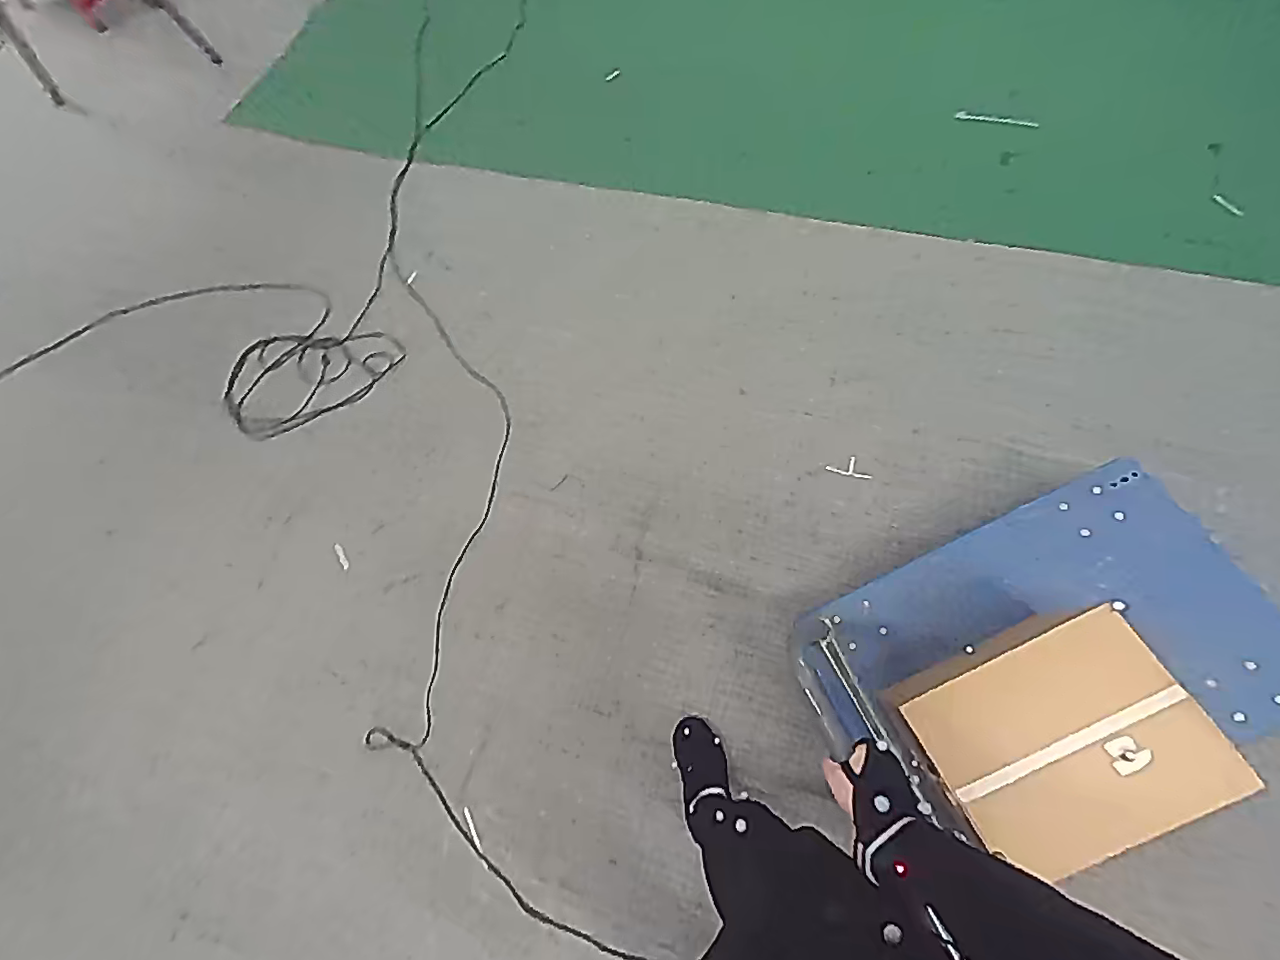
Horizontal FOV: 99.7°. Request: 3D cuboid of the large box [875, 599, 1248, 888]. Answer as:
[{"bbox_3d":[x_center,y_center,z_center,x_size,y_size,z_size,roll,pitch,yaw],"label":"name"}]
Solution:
[{"bbox_3d":[0.733,0.473,1.033,0.408,0.320,0.320,-29,68,5],"label":"large box"}]
